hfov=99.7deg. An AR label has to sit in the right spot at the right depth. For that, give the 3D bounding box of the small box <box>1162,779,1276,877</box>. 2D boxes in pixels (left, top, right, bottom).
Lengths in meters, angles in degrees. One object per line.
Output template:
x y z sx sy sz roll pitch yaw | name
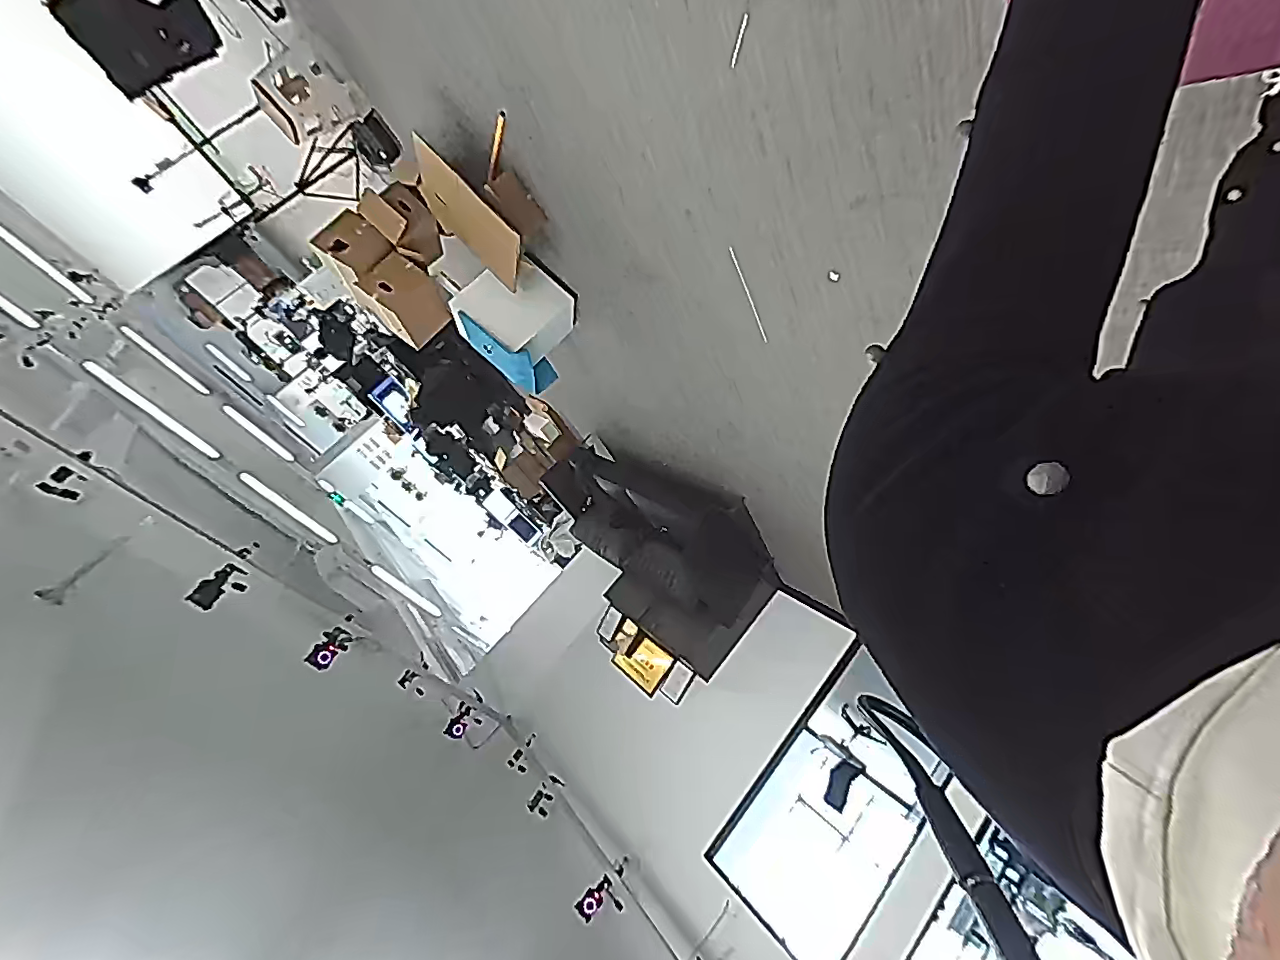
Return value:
1.690 1.015 1.580 0.168 0.176 0.179 29 160 40 | small box

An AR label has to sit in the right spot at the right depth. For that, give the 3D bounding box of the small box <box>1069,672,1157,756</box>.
1.605 0.792 1.836 0.168 0.176 0.179 30 159 43 | small box
